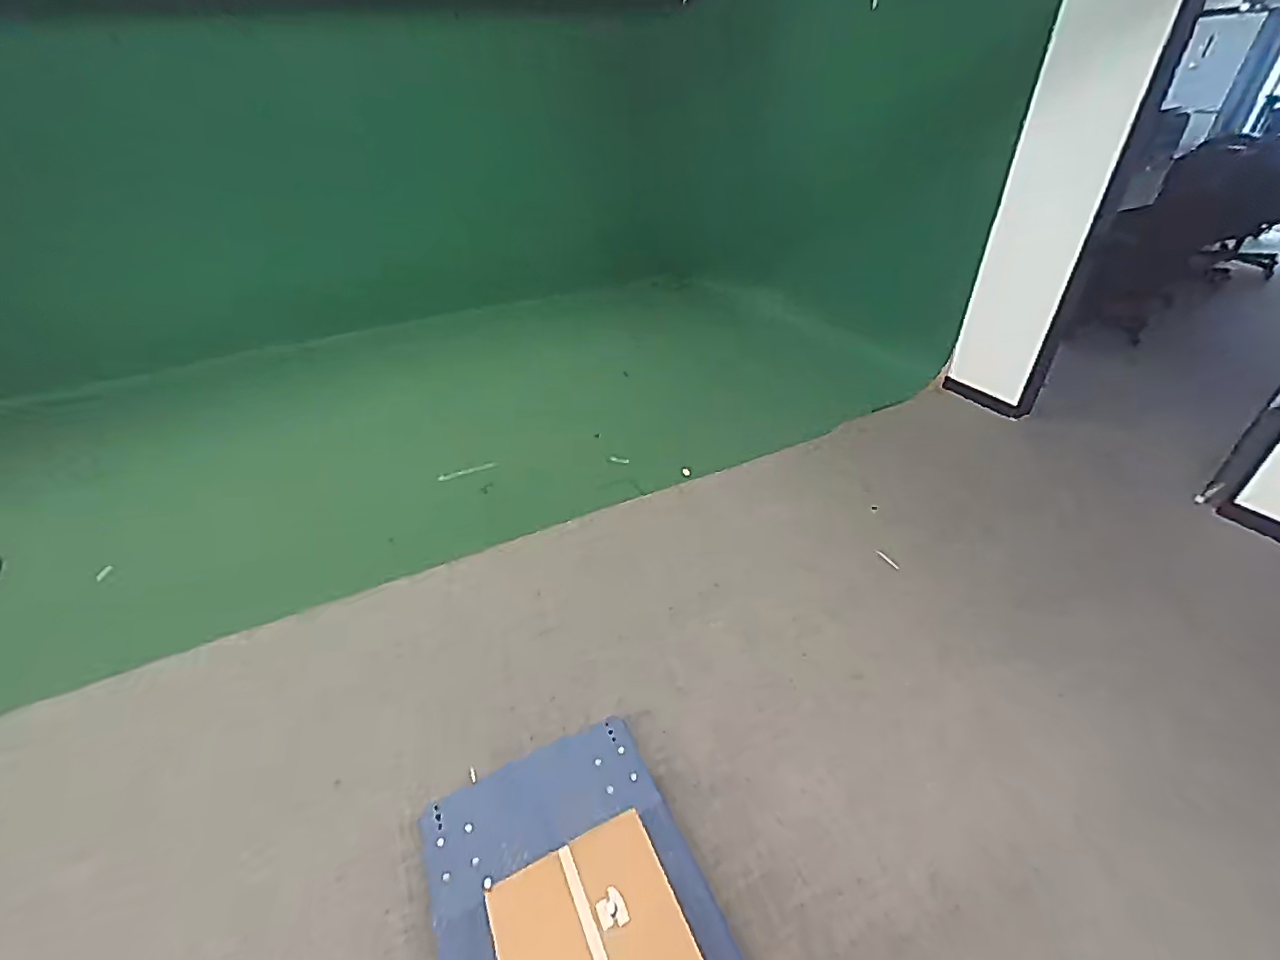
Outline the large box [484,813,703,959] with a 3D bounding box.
[{"bbox_3d":[-0.053,0.937,0.984,0.320,0.320,0.408,-18,38,-20],"label":"large box"}]
